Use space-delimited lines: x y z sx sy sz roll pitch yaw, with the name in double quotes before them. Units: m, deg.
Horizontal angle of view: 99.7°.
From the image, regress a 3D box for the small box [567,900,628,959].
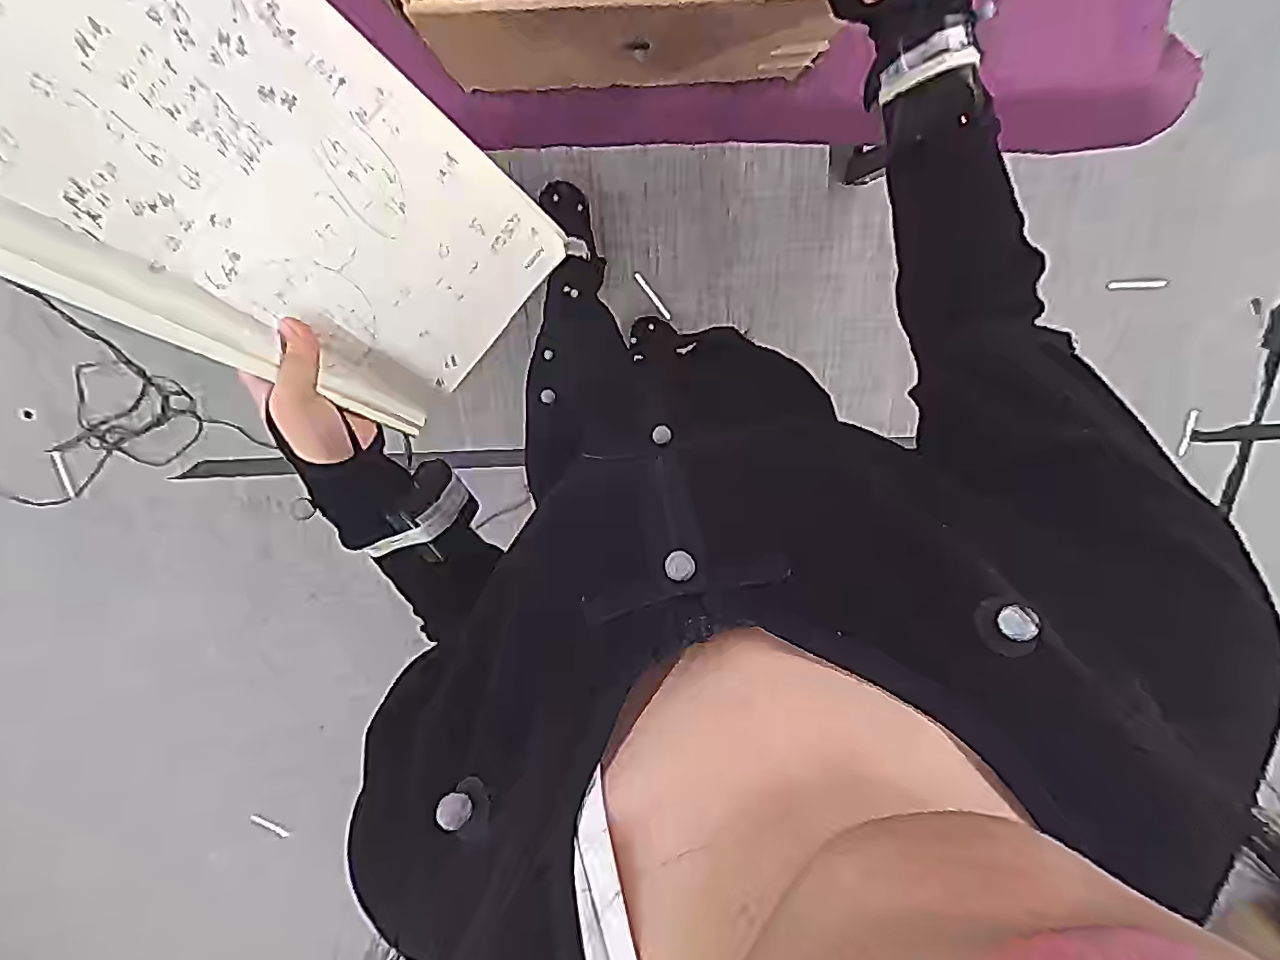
"small box" -0.124 1.383 1.600 0.168 0.176 0.179 -6 111 0
